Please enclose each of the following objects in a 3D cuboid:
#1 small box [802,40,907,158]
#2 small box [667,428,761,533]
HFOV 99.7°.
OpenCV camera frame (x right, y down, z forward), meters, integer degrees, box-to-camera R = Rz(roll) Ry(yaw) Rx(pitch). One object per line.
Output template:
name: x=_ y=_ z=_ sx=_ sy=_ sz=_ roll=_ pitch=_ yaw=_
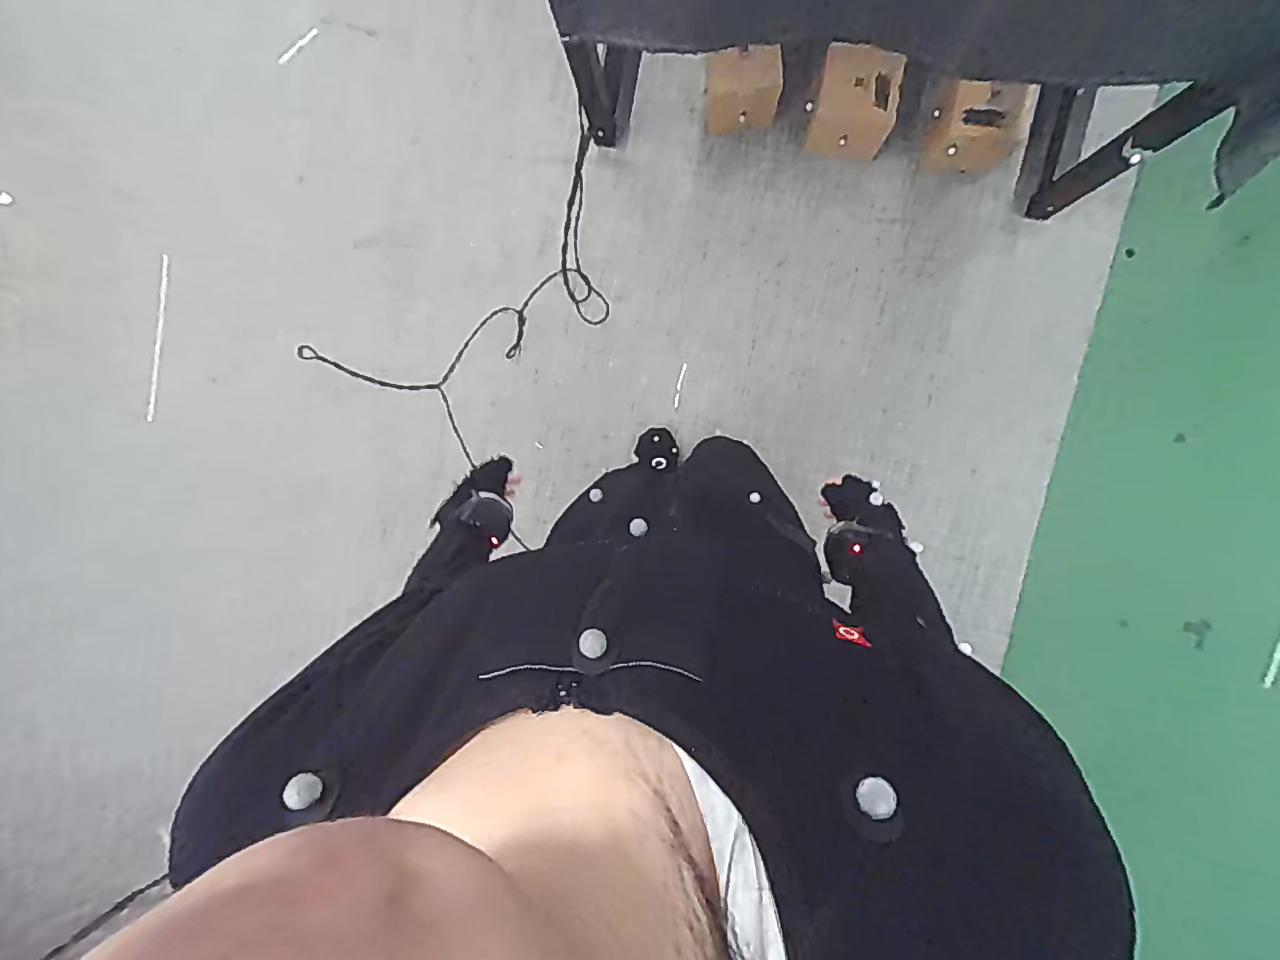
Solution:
small box: x=0.504 y=-0.900 z=1.294 sx=0.179 sy=0.176 sz=0.168 roll=10 pitch=96 yaw=5
small box: x=0.181 y=0.003 z=1.390 sx=0.179 sy=0.176 sz=0.168 roll=-28 pitch=55 yaw=-22
